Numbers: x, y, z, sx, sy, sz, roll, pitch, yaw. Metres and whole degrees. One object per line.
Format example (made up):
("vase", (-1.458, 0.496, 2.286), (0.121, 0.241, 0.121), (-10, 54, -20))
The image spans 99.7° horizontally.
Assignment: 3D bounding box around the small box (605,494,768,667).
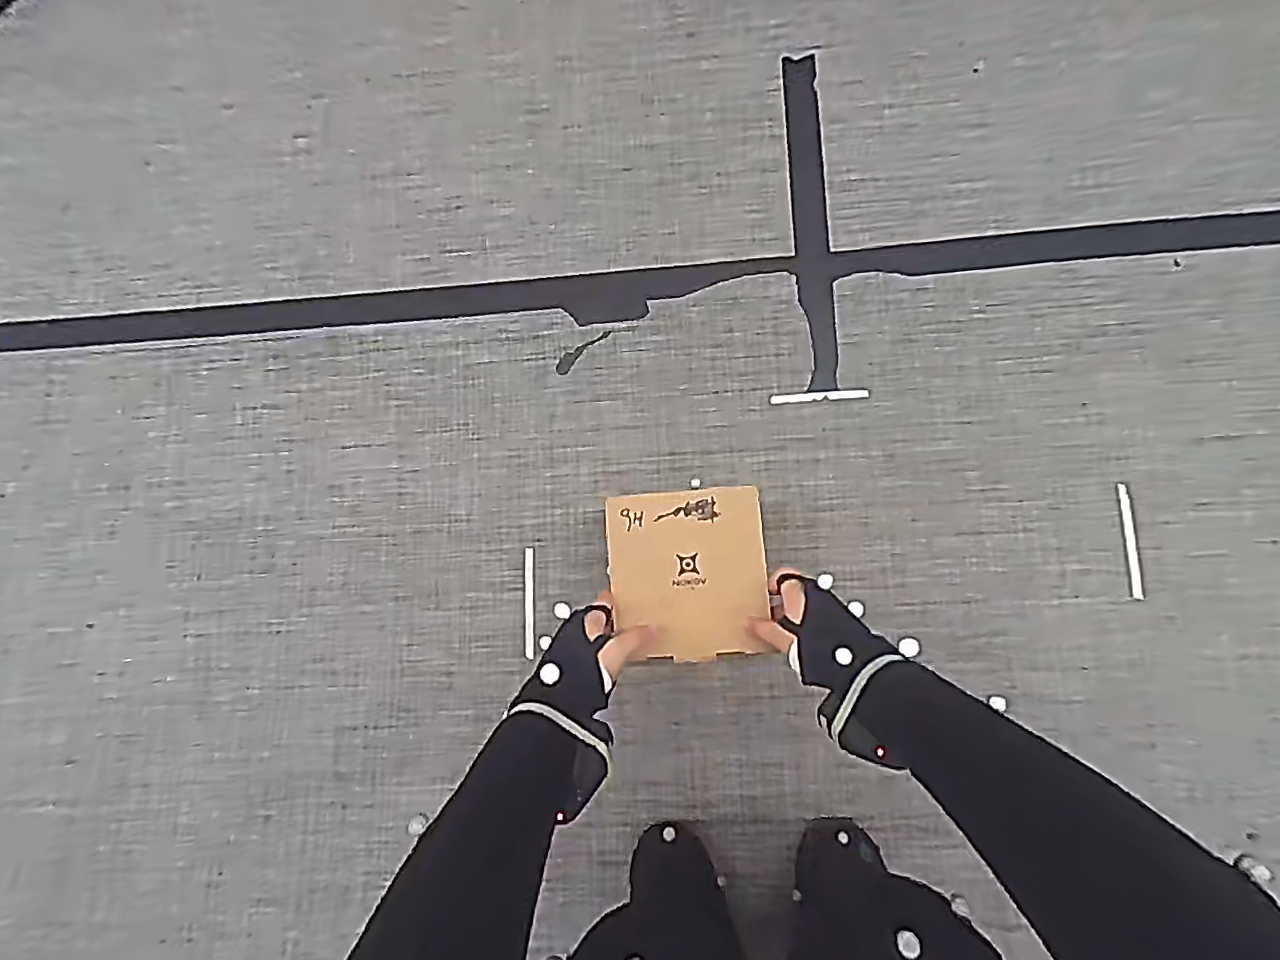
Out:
("small box", (0.053, 0.112, 0.649), (0.168, 0.176, 0.179), (-4, 85, 3))
